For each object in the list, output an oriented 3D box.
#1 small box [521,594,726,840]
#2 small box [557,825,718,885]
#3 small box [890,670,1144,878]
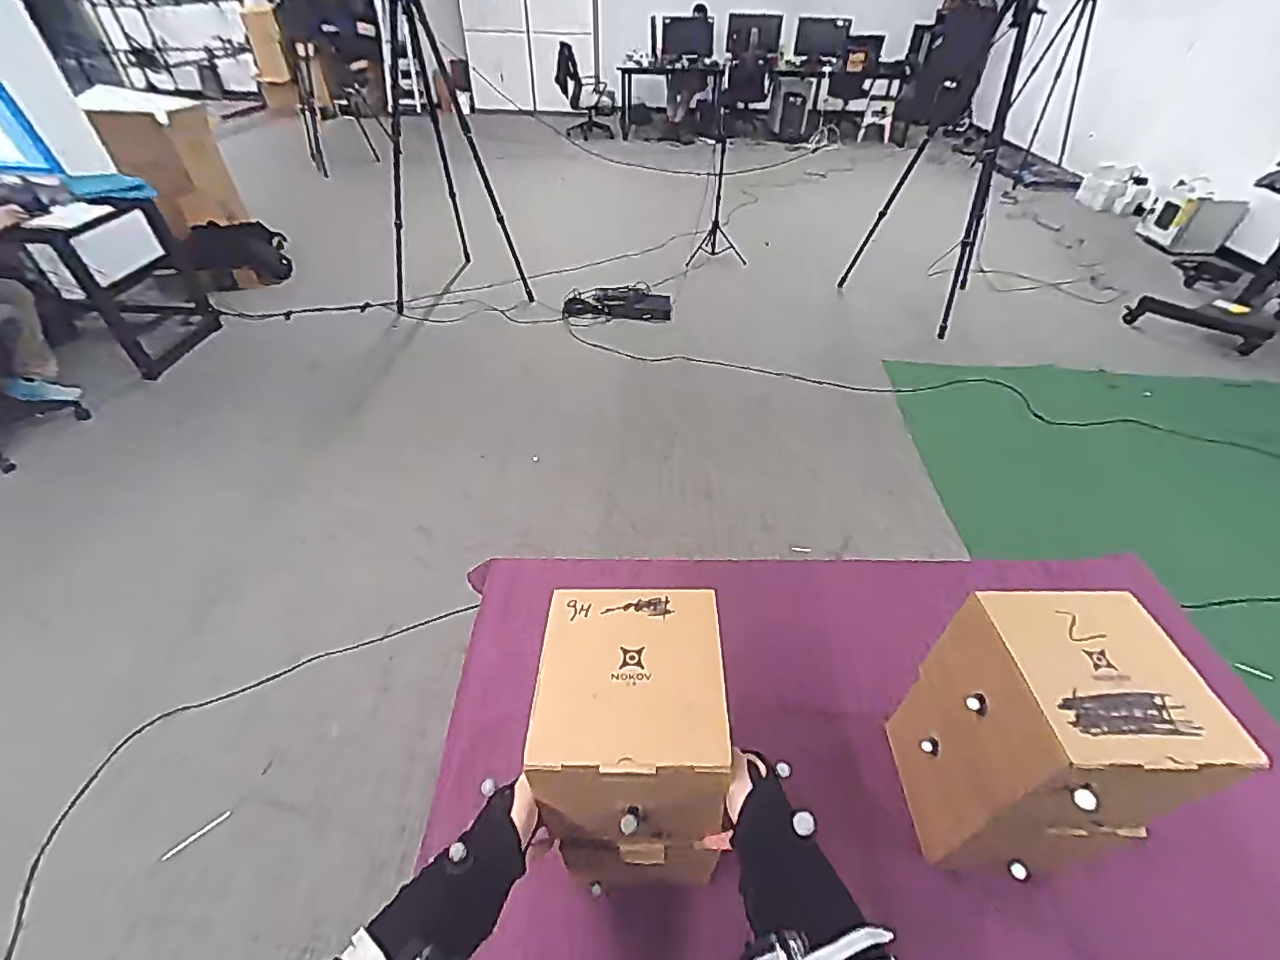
[{"bbox_3d":[-0.007,0.233,0.533,0.168,0.176,0.179,0,41,2],"label":"small box"},{"bbox_3d":[-0.002,0.367,0.650,0.168,0.176,0.179,0,42,-1],"label":"small box"},{"bbox_3d":[0.431,0.358,0.662,0.168,0.176,0.179,1,43,2],"label":"small box"}]
